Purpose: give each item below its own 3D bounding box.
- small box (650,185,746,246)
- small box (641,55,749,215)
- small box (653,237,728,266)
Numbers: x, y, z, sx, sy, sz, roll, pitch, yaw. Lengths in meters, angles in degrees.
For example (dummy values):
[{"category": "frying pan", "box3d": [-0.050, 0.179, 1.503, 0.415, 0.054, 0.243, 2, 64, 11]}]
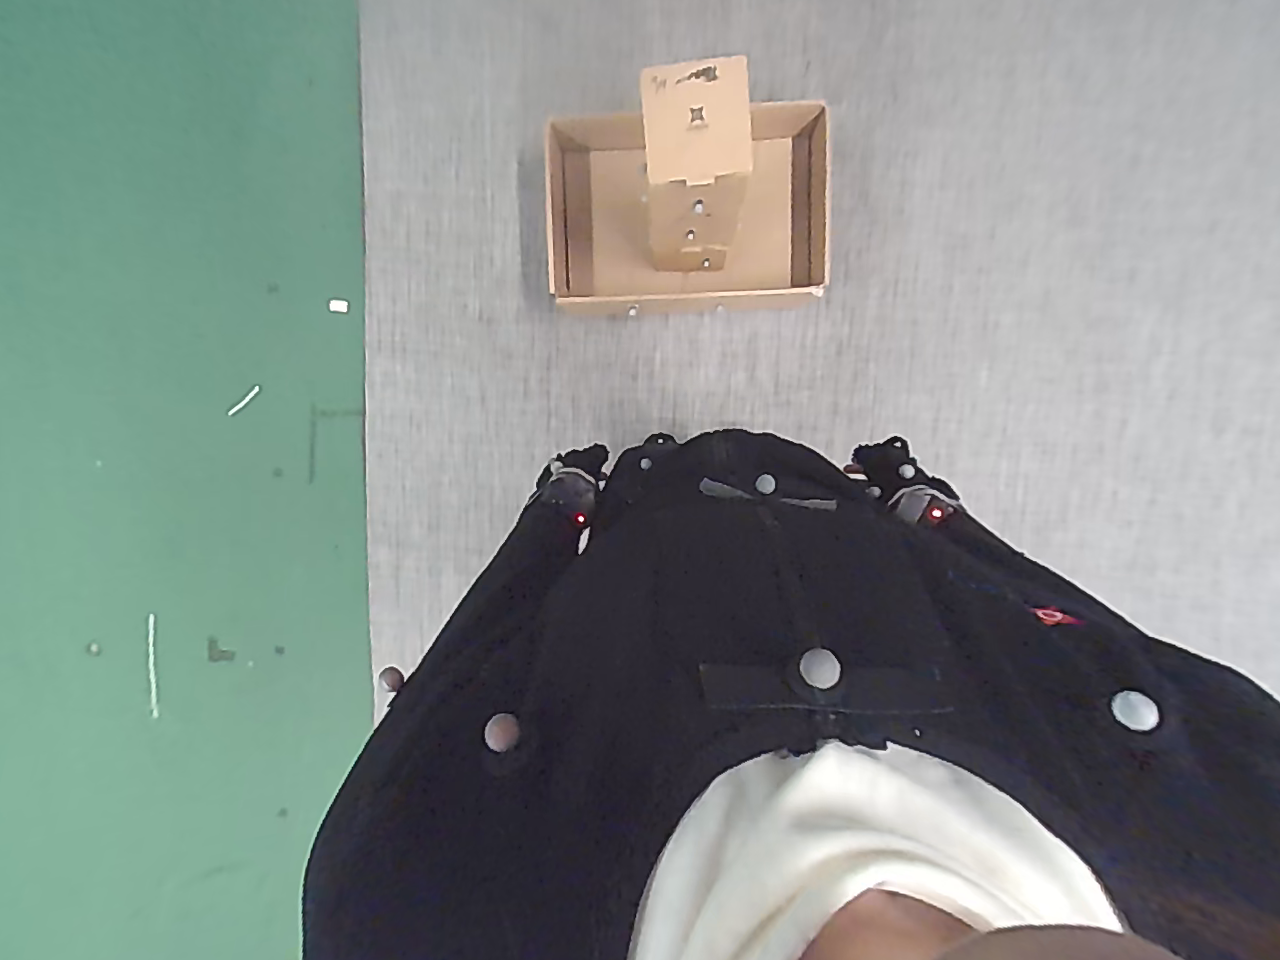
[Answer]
[{"category": "small box", "box3d": [0.108, -0.582, 1.081, 0.179, 0.176, 0.168, -4, 96, 3]}, {"category": "small box", "box3d": [0.093, -0.567, 0.918, 0.168, 0.176, 0.179, -3, 96, 5]}, {"category": "small box", "box3d": [0.117, -0.601, 1.243, 0.168, 0.176, 0.179, 1, 95, 4]}]
